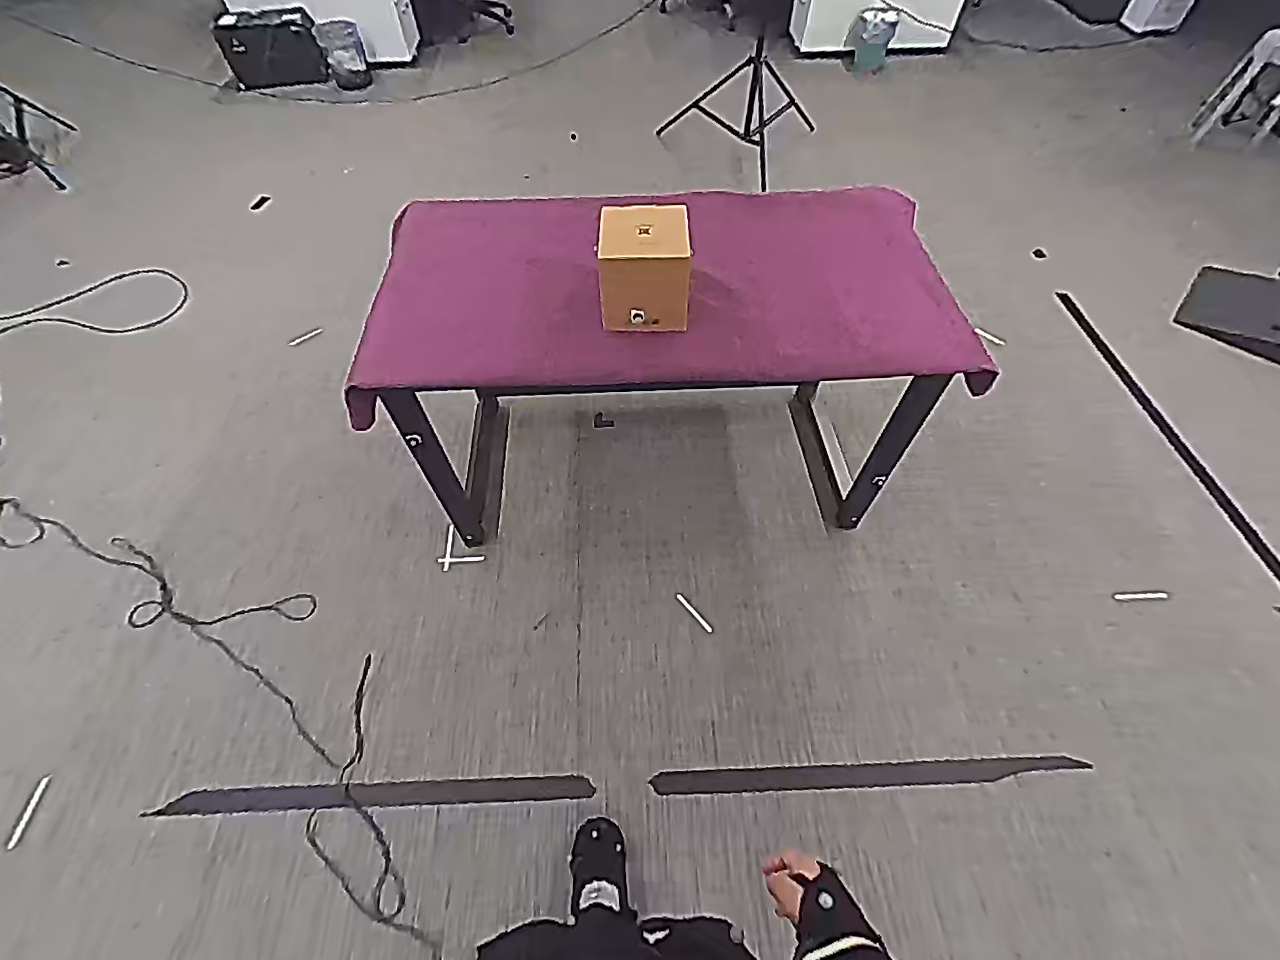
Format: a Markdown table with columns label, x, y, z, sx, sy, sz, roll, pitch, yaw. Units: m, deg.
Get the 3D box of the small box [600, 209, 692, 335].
| label | x | y | z | sx | sy | sz | roll | pitch | yaw |
| --- | --- | --- | --- | --- | --- | --- | --- | --- | --- |
| small box | 0.010 | -0.407 | 1.064 | 0.168 | 0.176 | 0.179 | -1 | 55 | 1 |
